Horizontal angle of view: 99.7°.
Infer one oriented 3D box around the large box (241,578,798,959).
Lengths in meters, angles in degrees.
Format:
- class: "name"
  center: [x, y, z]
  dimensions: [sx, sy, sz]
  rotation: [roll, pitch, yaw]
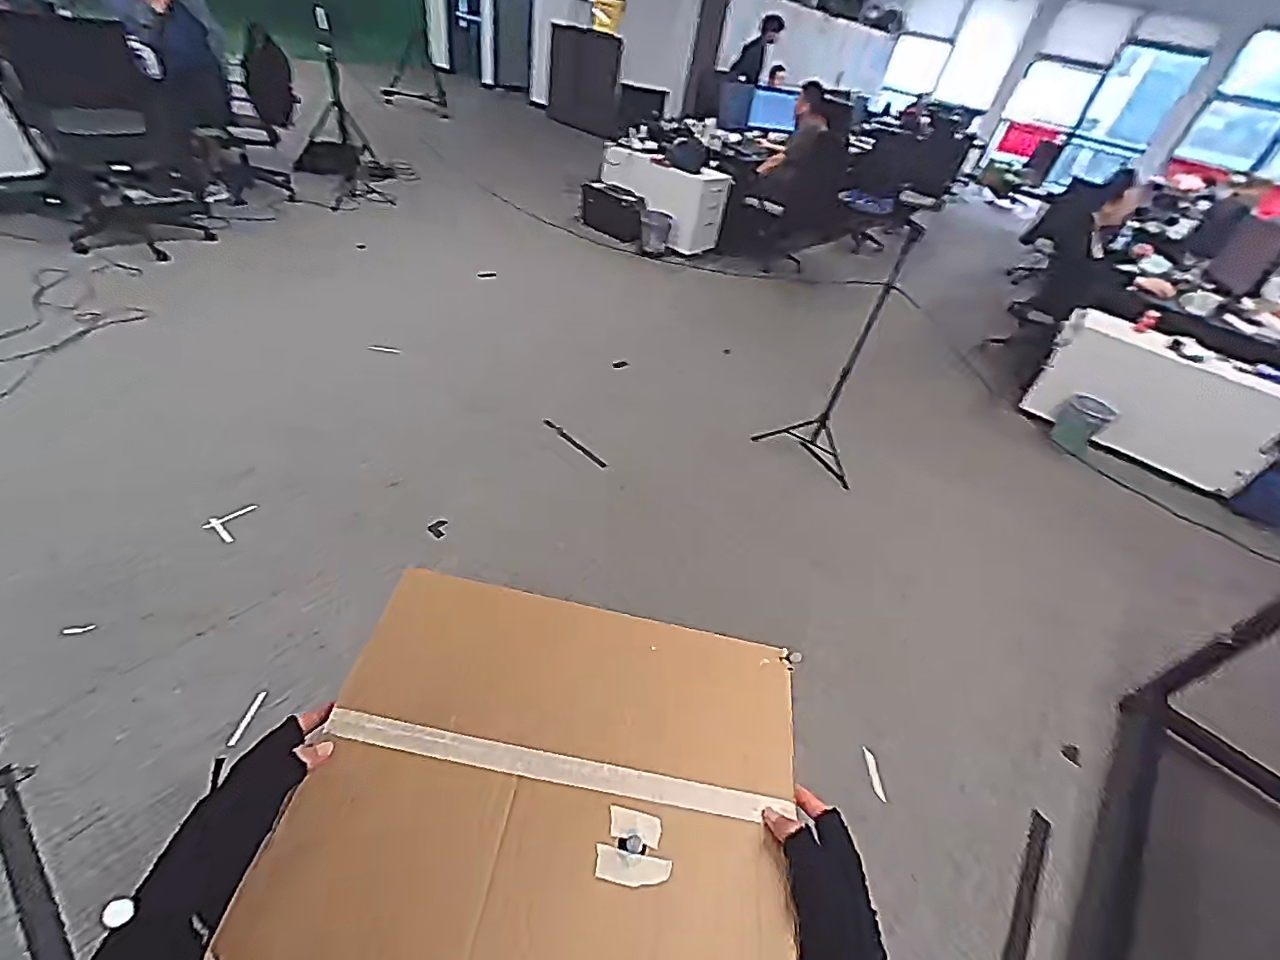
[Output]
- class: "large box"
  center: [-0.087, 0.351, 0.581]
  dimensions: [0.408, 0.320, 0.320]
  rotation: [13, 47, -2]
